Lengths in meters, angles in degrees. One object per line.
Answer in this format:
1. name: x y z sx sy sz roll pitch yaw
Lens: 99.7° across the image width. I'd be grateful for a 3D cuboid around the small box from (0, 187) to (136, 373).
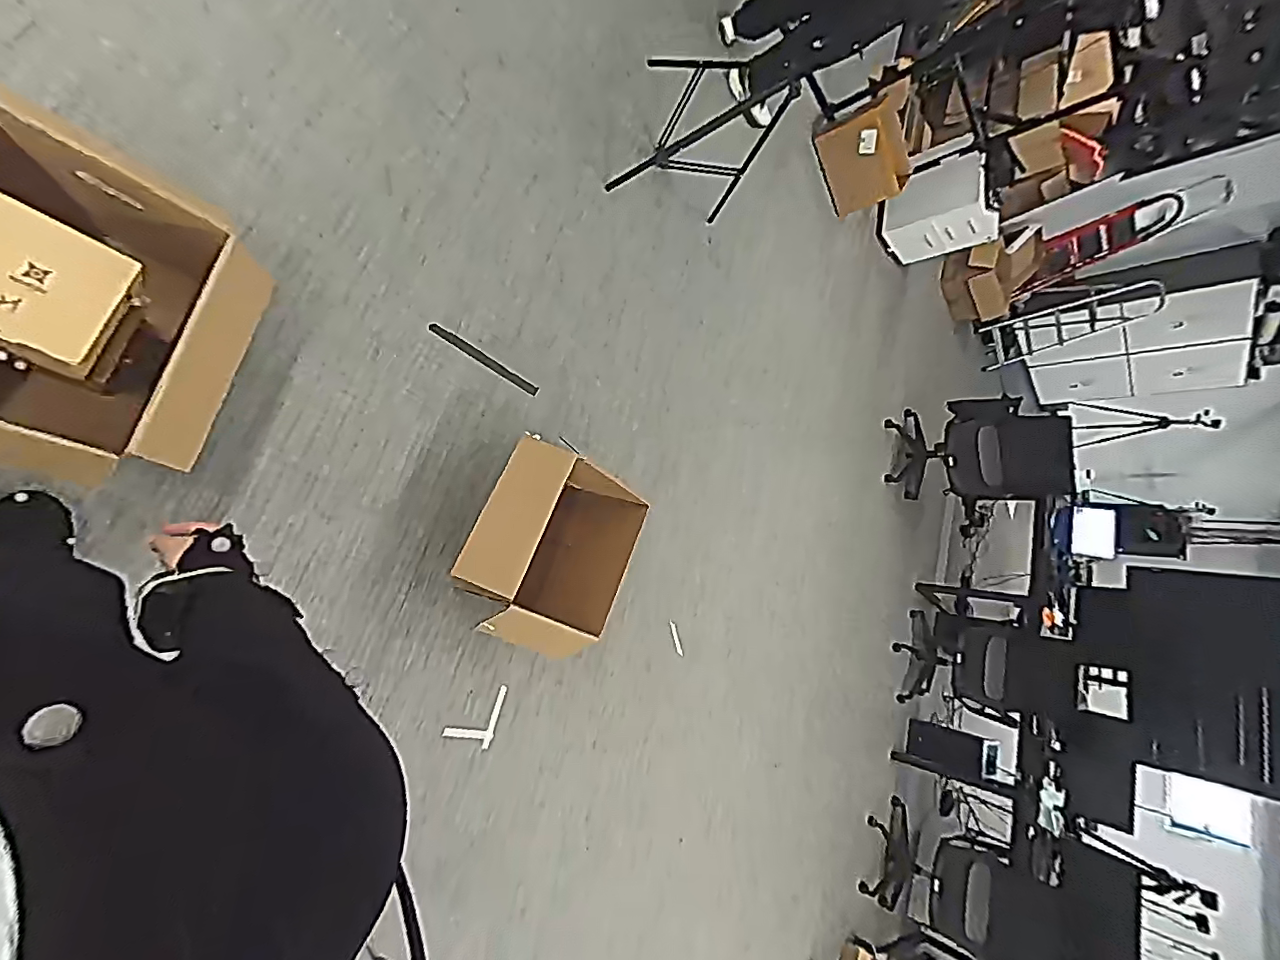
1. small box: -0.866 -0.274 0.766 0.168 0.176 0.179 30 69 -40
